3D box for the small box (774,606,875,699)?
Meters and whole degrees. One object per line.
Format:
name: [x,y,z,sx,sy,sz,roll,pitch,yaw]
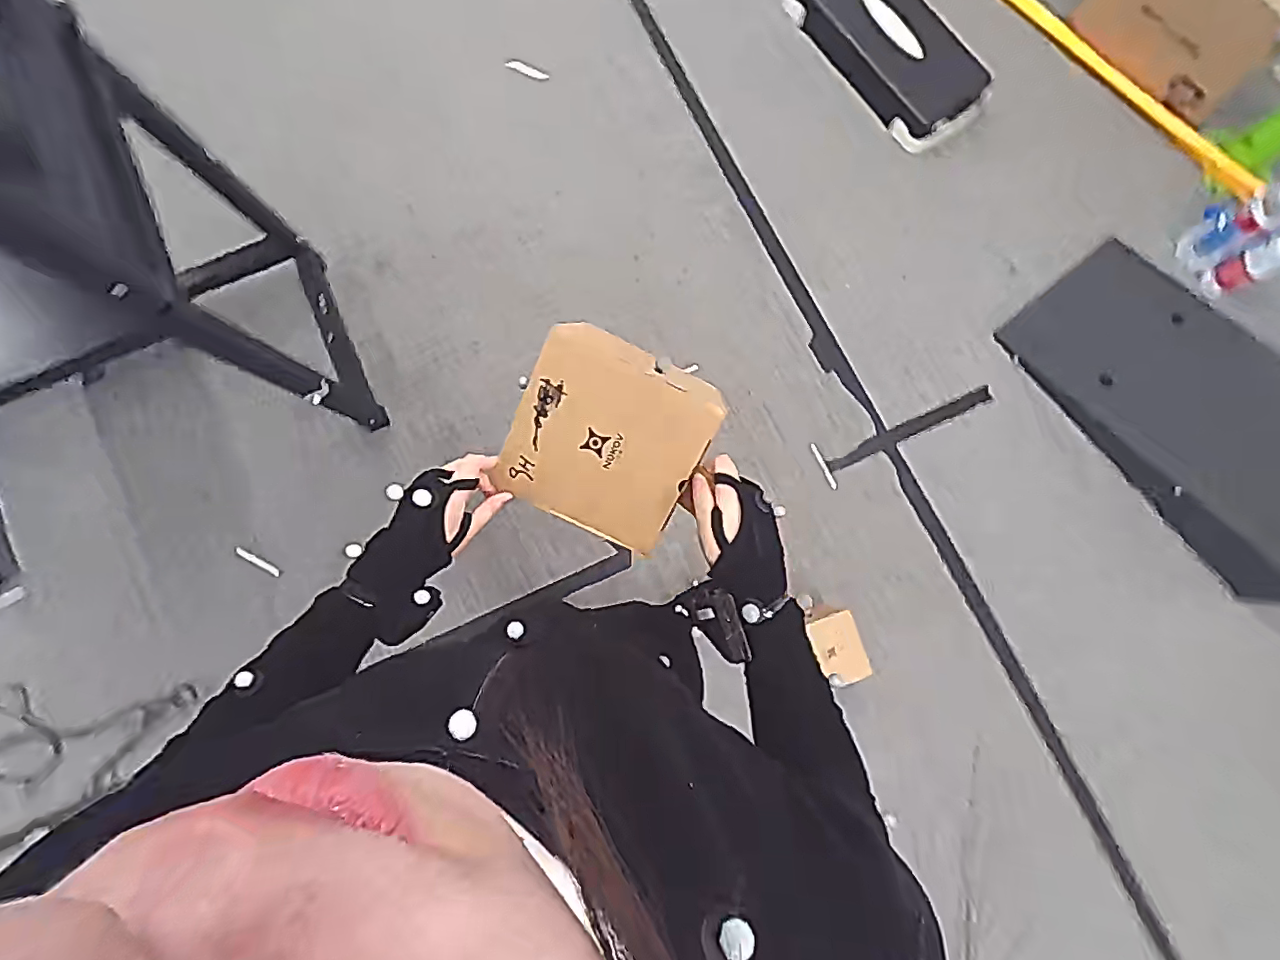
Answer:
small box: [0.455,0.431,1.373,0.179,0.176,0.168,-19,83,-3]
